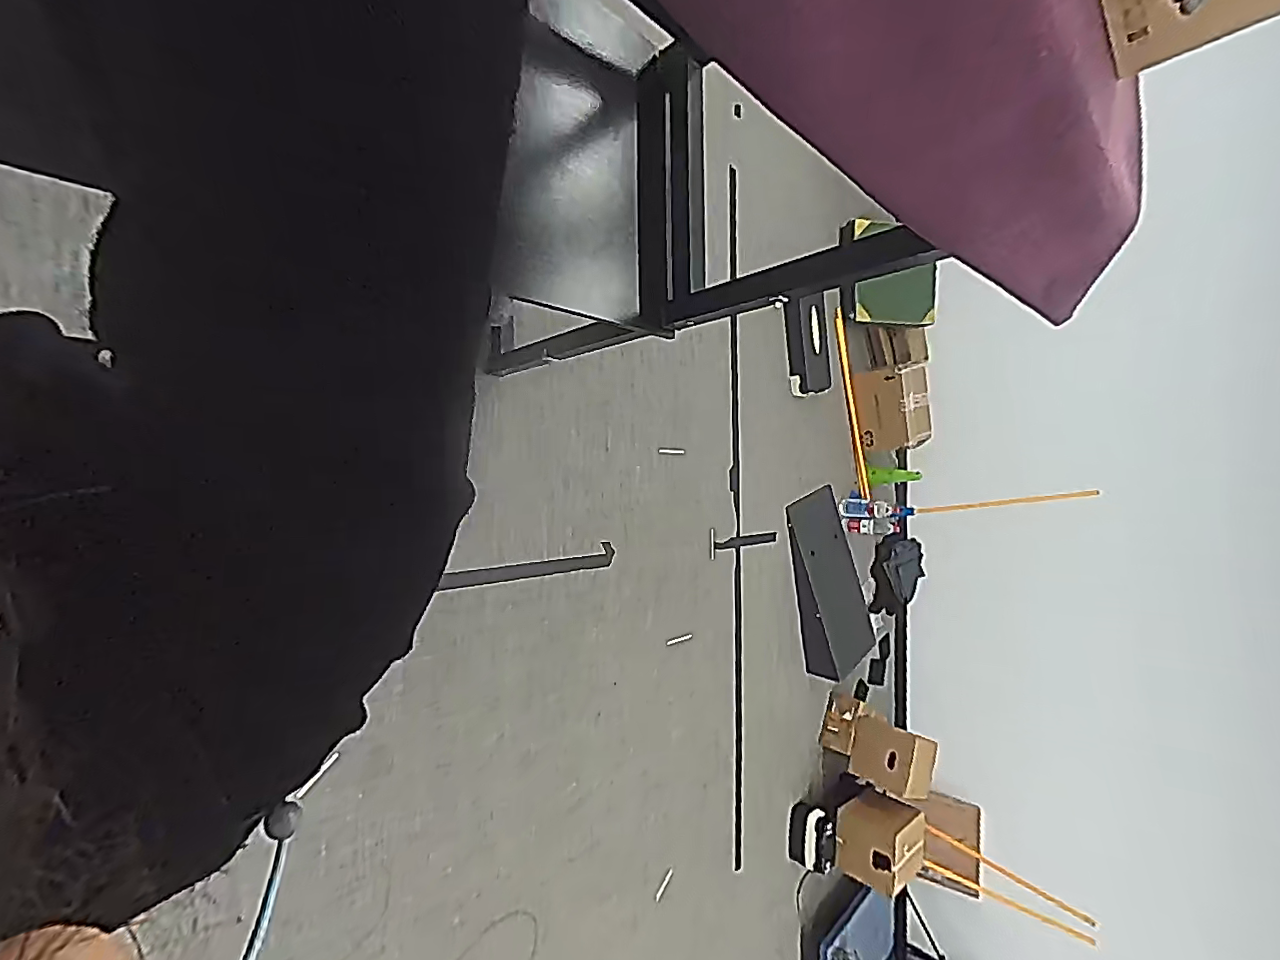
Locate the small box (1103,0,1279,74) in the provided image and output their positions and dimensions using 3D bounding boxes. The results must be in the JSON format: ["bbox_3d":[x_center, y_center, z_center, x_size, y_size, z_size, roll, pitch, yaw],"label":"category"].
[{"bbox_3d":[0.493,-0.501,0.446,0.168,0.176,0.179,4,87,-43],"label":"small box"}]
